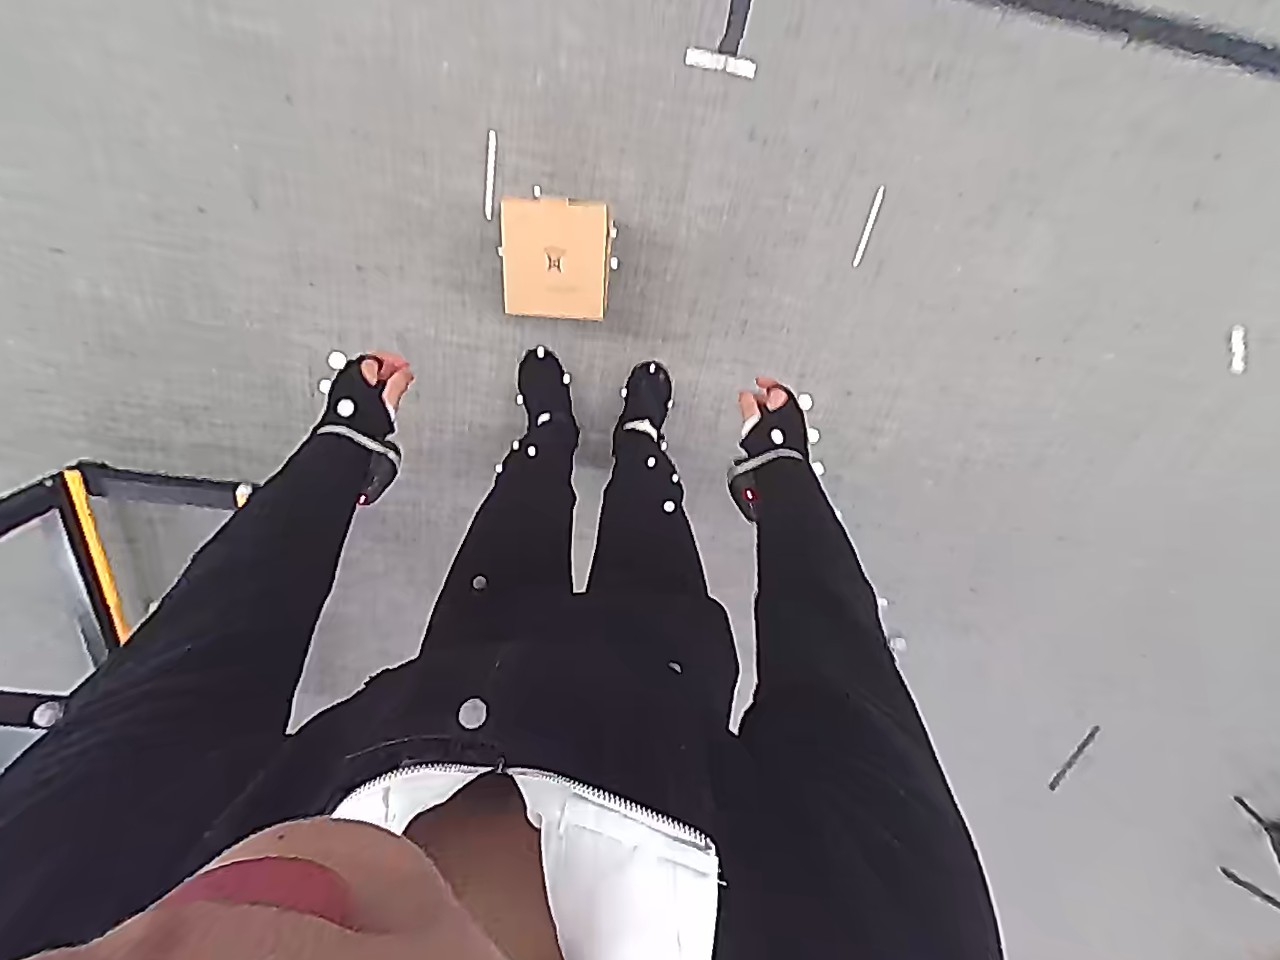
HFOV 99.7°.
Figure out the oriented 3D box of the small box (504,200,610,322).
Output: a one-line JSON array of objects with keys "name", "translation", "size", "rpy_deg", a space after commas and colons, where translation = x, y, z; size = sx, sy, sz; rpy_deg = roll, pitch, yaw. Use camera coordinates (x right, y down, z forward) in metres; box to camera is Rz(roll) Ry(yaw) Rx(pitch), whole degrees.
[{"name": "small box", "translation": [-0.139, -0.385, 0.944], "size": [0.168, 0.176, 0.179], "rpy_deg": [3, 118, -3]}]
